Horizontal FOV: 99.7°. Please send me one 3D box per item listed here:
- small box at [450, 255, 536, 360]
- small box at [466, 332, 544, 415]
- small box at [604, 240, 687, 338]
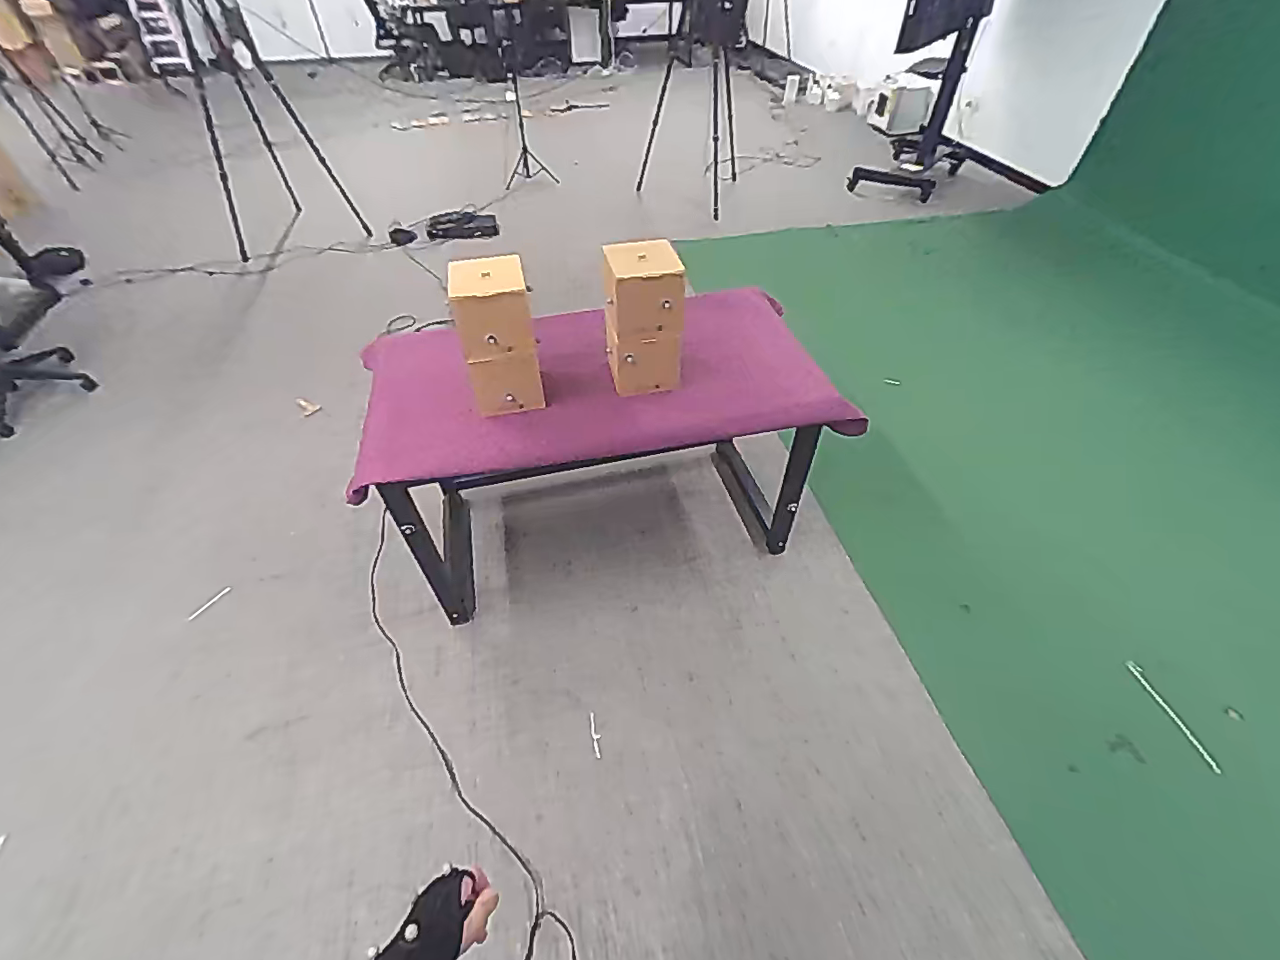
[{"bbox_3d":[-0.341,-0.402,1.262,0.168,0.176,0.179,-10,49,-10],"label":"small box"},{"bbox_3d":[-0.341,-0.290,1.379,0.168,0.176,0.179,-9,48,-8],"label":"small box"},{"bbox_3d":[0.011,-0.458,1.313,0.168,0.176,0.179,-9,47,-9],"label":"small box"}]
